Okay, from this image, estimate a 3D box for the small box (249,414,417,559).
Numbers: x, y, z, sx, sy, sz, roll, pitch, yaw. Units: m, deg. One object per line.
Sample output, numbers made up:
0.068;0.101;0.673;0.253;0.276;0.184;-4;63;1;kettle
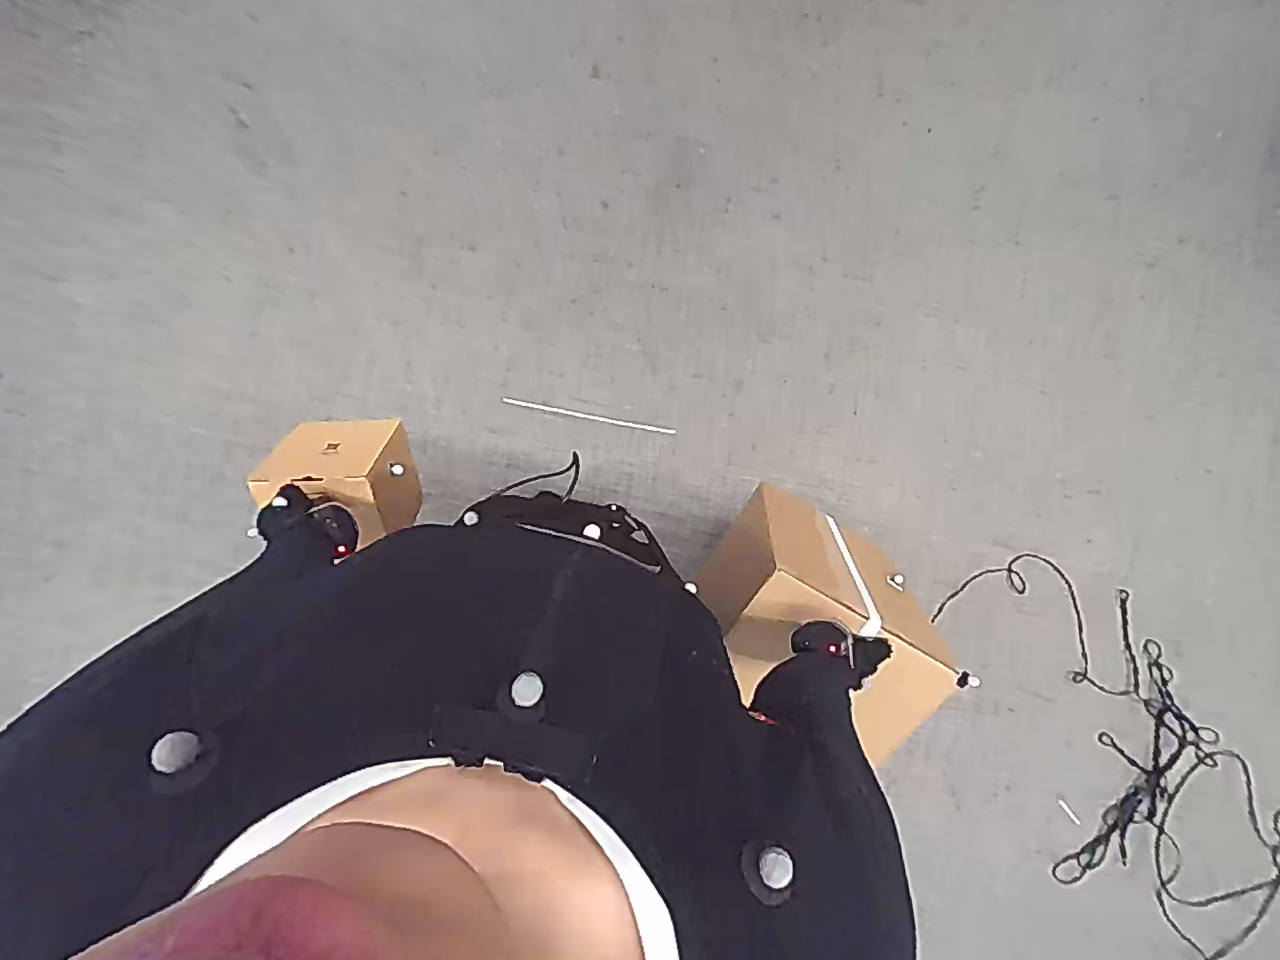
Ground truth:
-0.476;0.008;0.875;0.168;0.179;0.176;-3;125;-3;small box
